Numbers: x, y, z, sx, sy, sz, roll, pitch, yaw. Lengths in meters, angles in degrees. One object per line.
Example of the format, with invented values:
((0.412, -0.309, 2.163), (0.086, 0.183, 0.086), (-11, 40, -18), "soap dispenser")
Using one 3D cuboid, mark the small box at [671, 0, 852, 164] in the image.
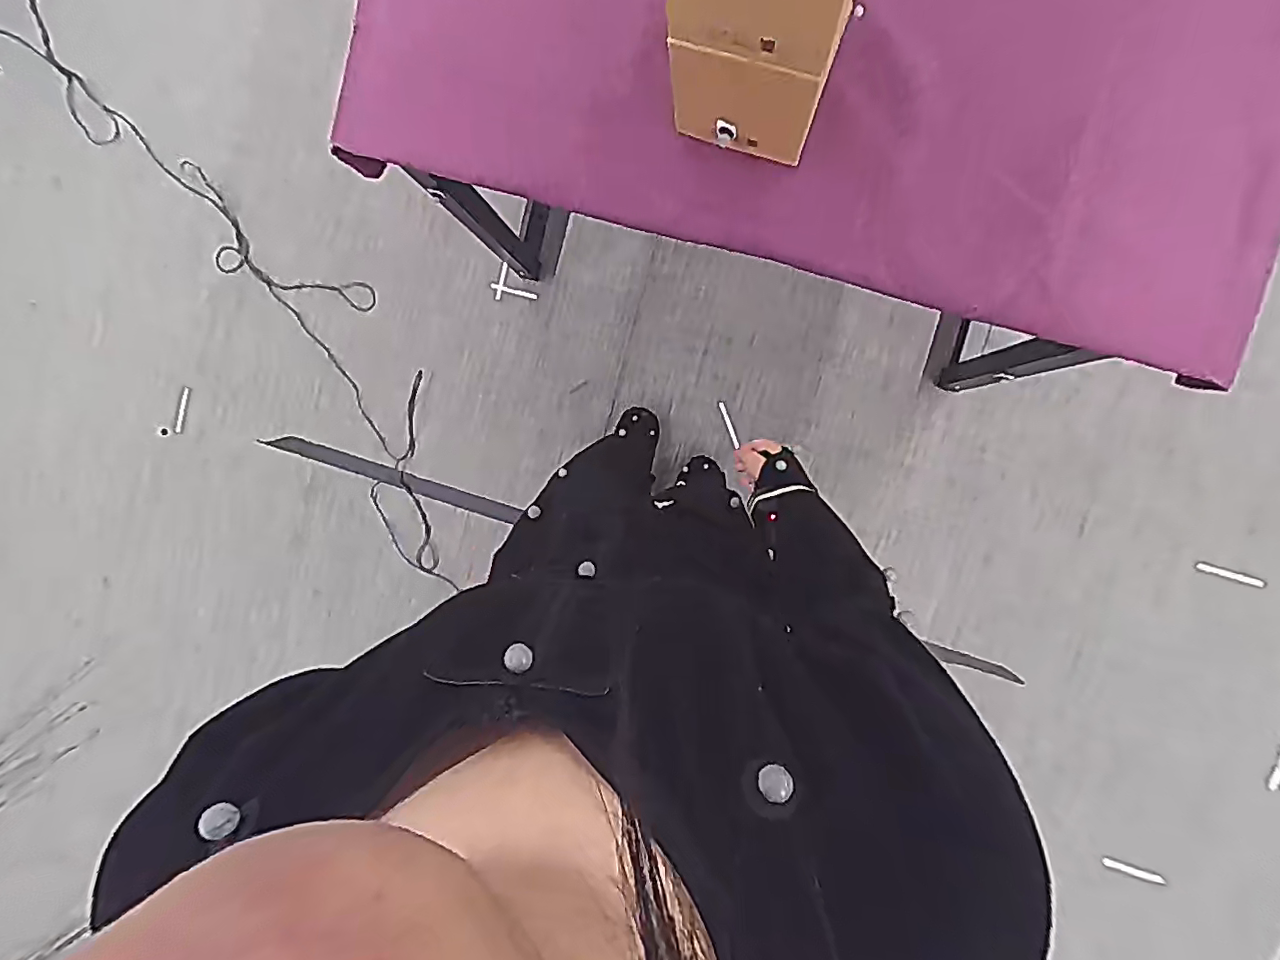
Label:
((0.142, -0.508, 0.620), (0.168, 0.176, 0.179), (19, 95, 6), "small box")
